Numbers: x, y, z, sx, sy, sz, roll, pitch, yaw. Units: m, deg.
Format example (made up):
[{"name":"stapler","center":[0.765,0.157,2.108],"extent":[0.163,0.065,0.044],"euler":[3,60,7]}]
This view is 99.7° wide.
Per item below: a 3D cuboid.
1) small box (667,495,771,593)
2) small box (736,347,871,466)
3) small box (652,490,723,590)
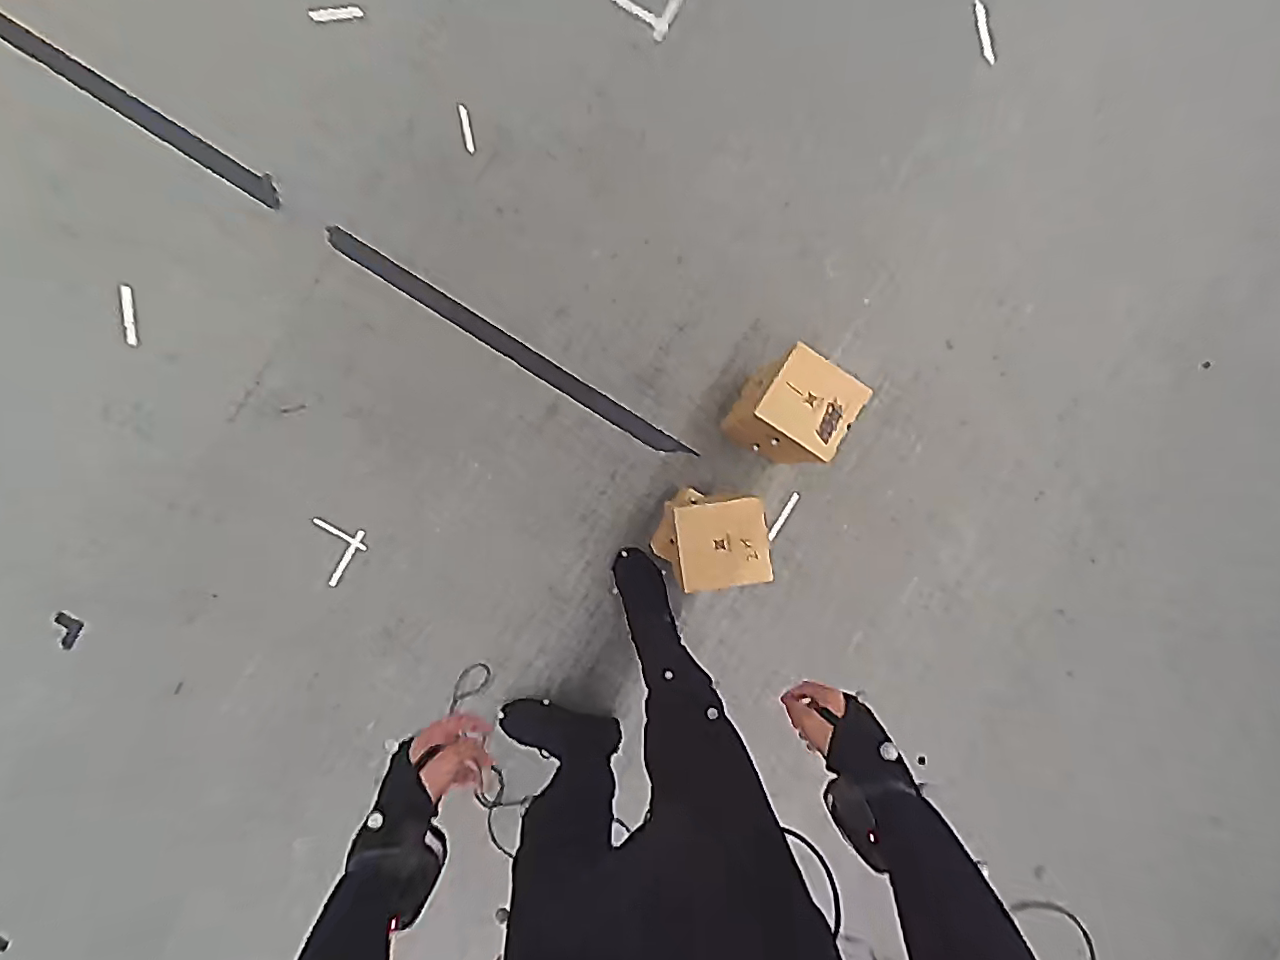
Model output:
[{"name":"small box","center":[0.152,0.124,1.108],"extent":[0.179,0.176,0.168],"euler":[-8,92,-4]},{"name":"small box","center":[0.325,-0.144,1.110],"extent":[0.179,0.176,0.168],"euler":[33,89,-2]},{"name":"small box","center":[0.140,0.133,1.272],"extent":[0.179,0.176,0.168],"euler":[29,90,-4]}]
